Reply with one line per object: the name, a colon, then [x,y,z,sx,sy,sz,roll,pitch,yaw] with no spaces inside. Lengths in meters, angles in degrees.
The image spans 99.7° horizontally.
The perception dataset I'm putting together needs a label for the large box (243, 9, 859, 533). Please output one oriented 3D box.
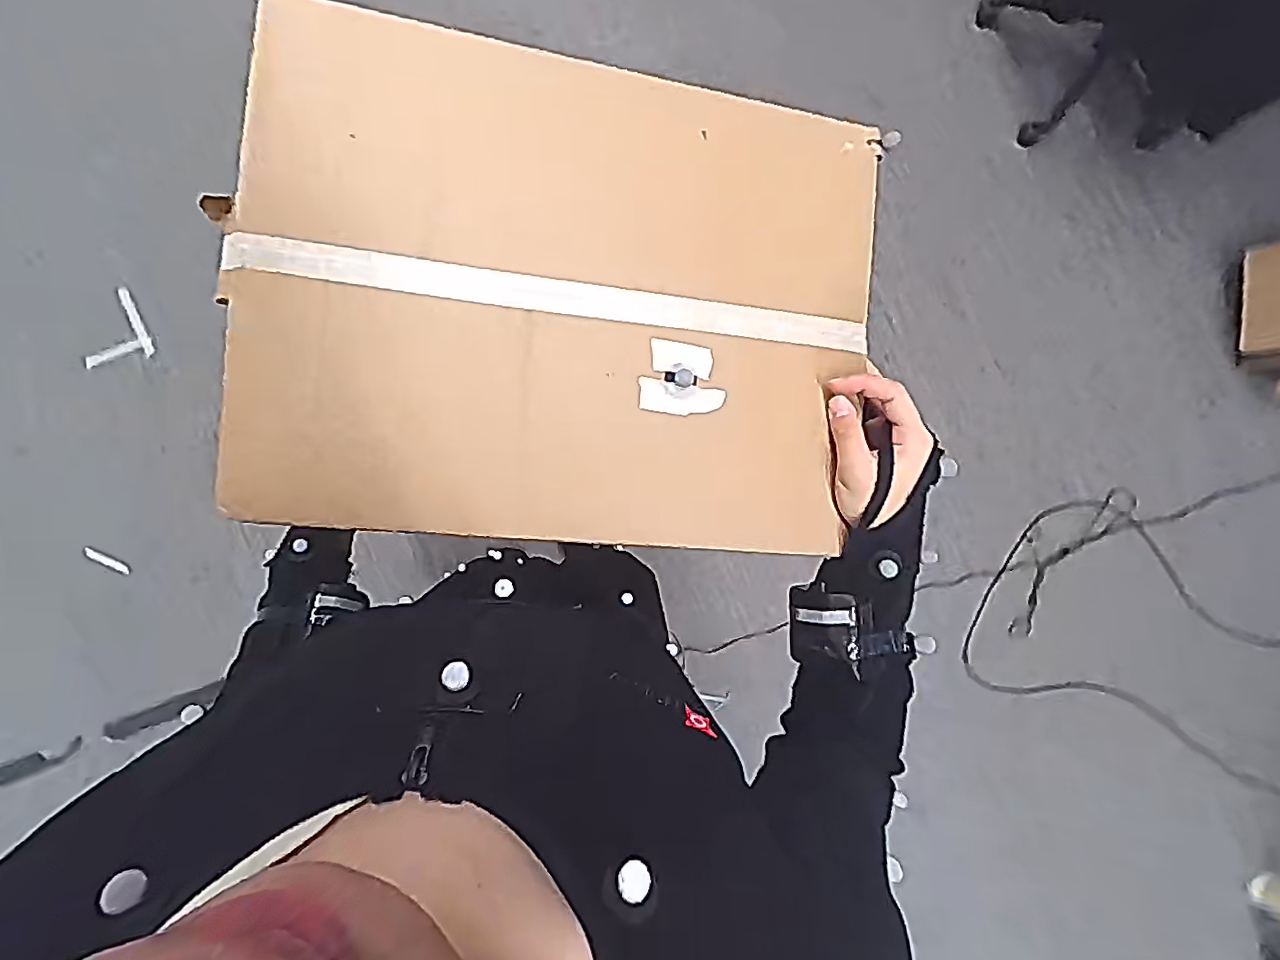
large box: [-0.068,-0.121,0.506,0.408,0.320,0.320,3,90,-13]
